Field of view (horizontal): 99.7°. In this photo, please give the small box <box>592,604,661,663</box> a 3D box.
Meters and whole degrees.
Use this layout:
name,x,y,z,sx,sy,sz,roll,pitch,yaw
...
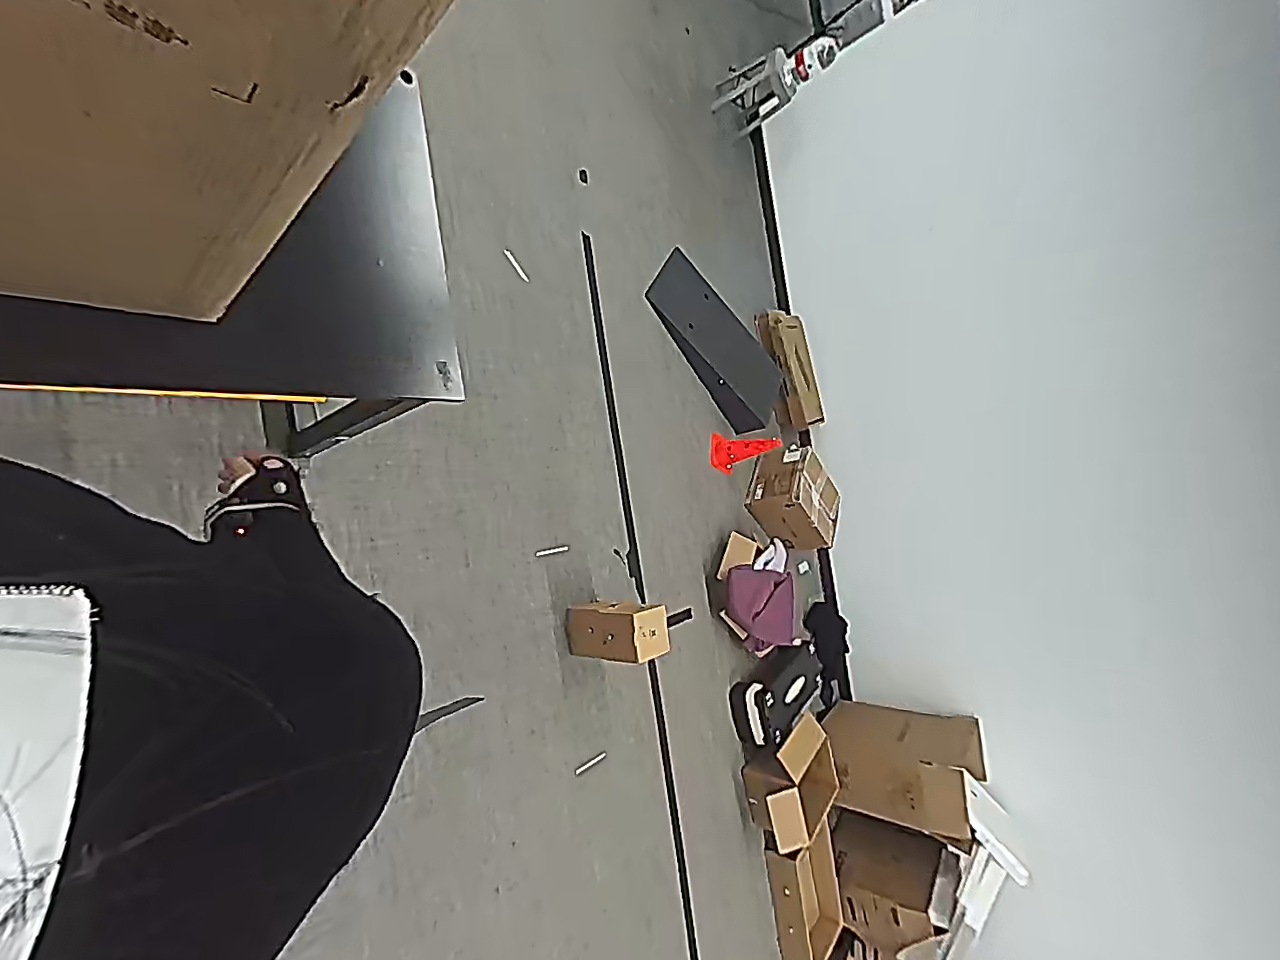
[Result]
name,x,y,z,sx,sy,sz,roll,pitch,yaw
small box,-0.048,0.535,1.909,0.179,0.176,0.168,0,83,-50

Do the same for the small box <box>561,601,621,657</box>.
name,x,y,z,sx,sy,sz,roll,pitch,yaw
small box,-0.177,0.548,2.011,0.168,0.176,0.179,0,83,-50
